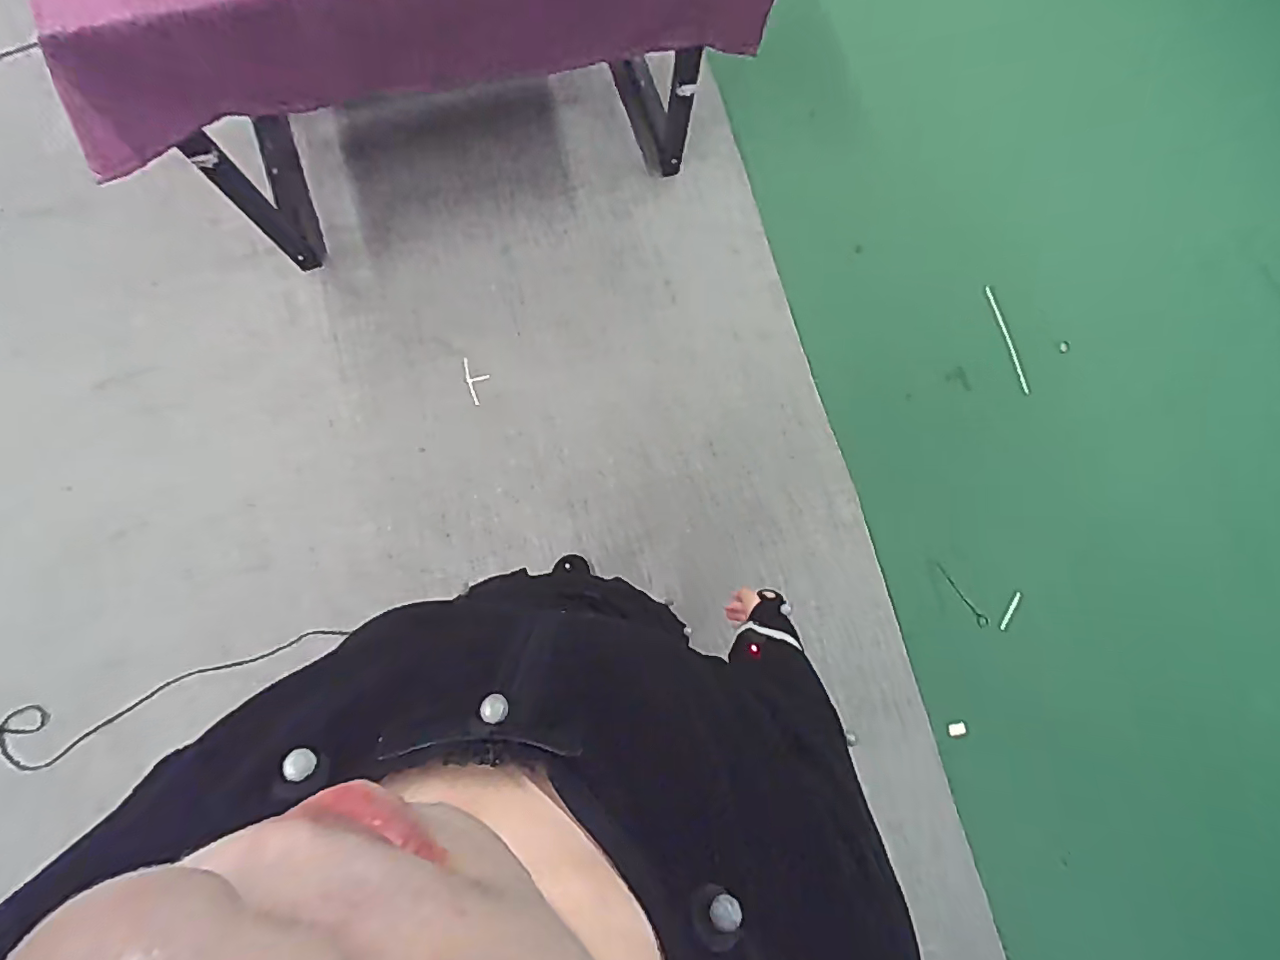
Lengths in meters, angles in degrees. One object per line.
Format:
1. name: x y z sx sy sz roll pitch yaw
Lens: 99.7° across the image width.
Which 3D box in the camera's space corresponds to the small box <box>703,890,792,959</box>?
1. small box: 0.250 1.043 1.161 0.168 0.176 0.179 -18 82 -7
